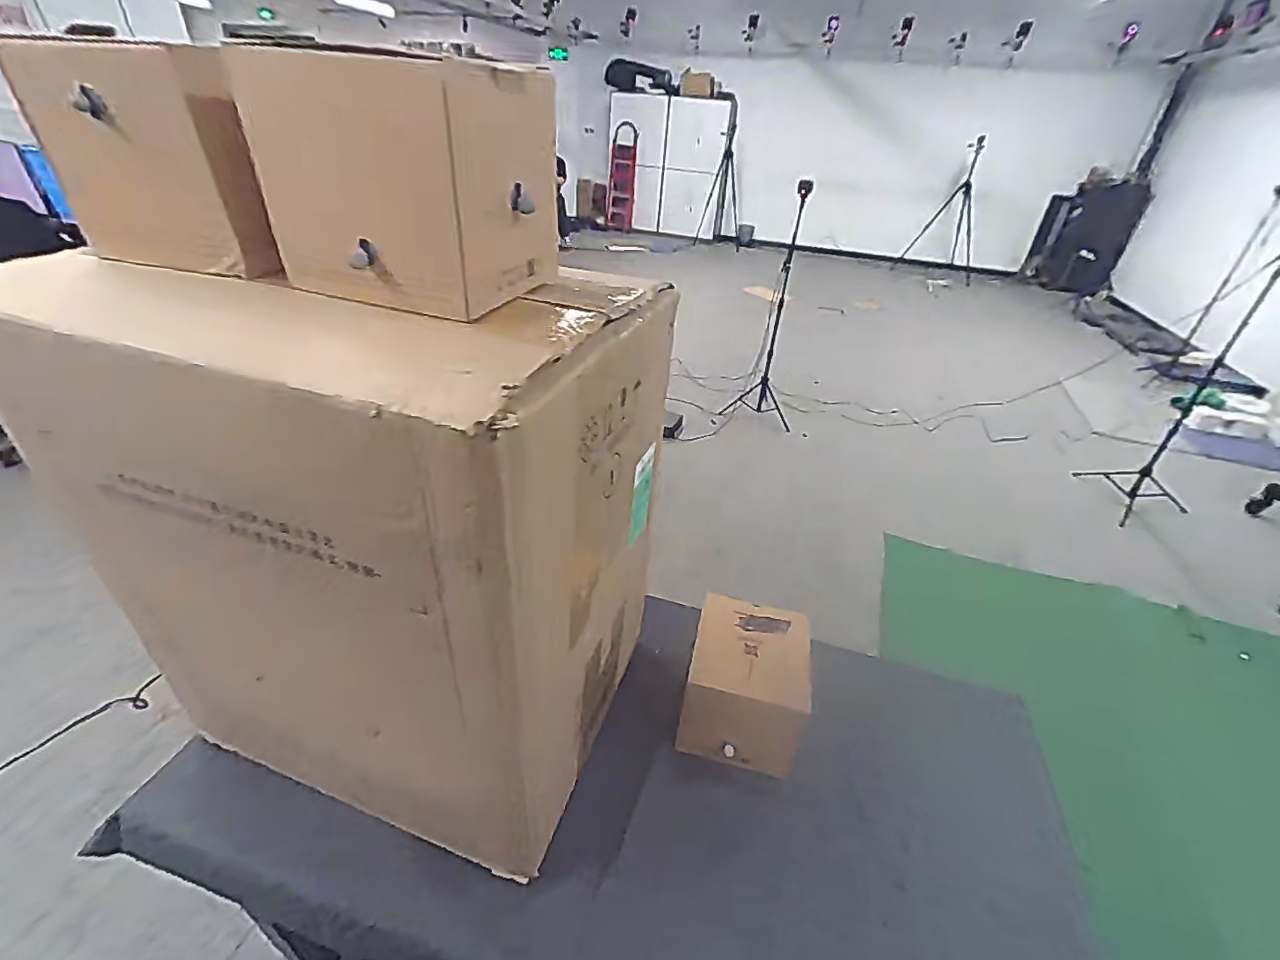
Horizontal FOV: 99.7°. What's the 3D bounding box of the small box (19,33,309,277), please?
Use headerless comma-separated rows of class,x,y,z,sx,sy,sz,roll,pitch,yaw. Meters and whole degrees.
small box,-0.383,-0.301,0.510,0.179,0.176,0.168,12,37,10

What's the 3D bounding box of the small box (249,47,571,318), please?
small box,-0.172,-0.251,0.464,0.179,0.176,0.168,15,36,12
